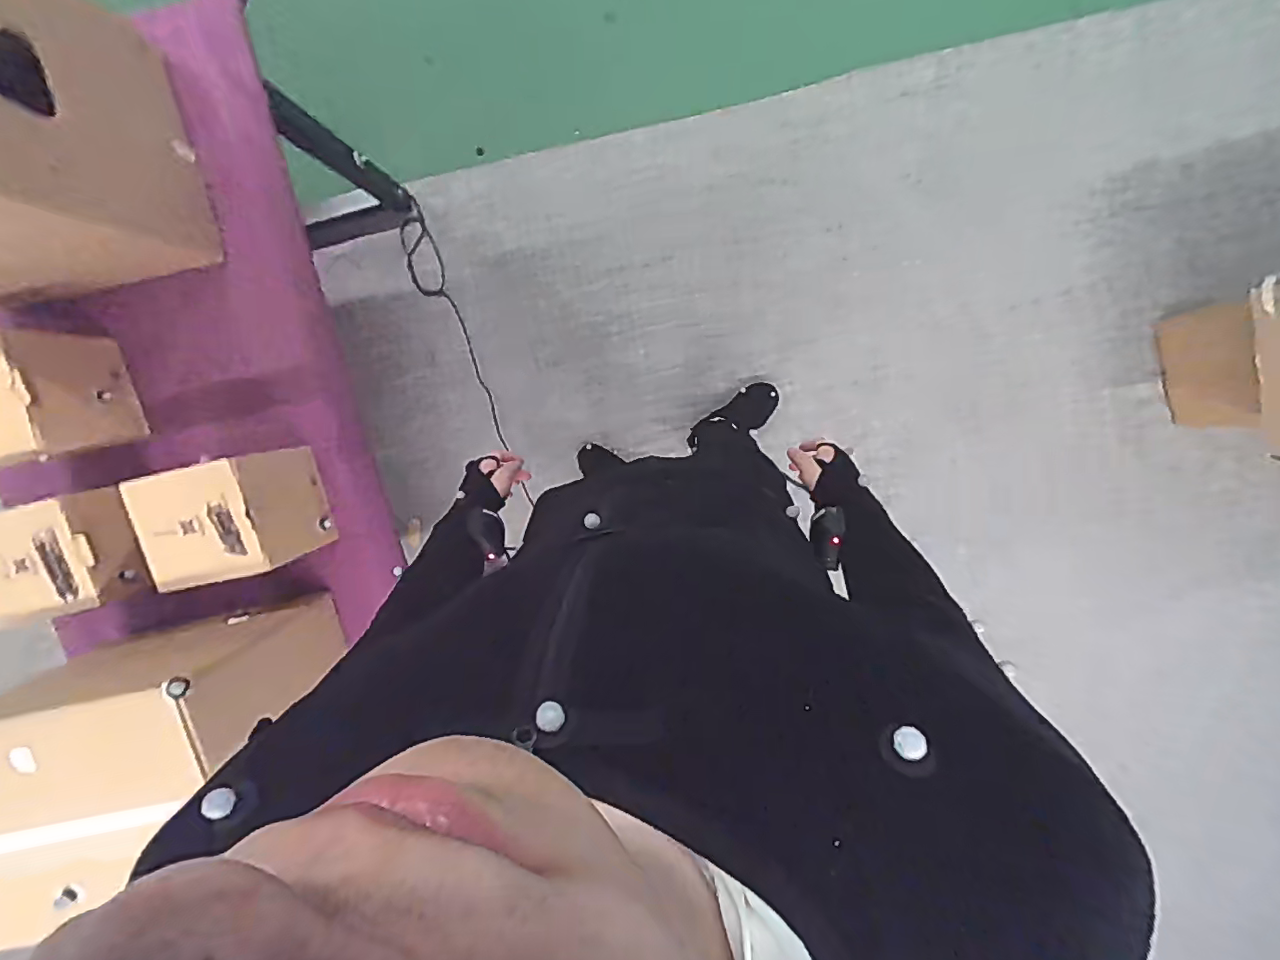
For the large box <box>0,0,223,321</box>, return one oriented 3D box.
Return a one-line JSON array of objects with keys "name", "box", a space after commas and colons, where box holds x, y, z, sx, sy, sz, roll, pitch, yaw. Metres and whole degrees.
[{"name": "large box", "box": [-0.875, -0.417, 0.688, 0.408, 0.320, 0.320, -12, 100, 3]}]
